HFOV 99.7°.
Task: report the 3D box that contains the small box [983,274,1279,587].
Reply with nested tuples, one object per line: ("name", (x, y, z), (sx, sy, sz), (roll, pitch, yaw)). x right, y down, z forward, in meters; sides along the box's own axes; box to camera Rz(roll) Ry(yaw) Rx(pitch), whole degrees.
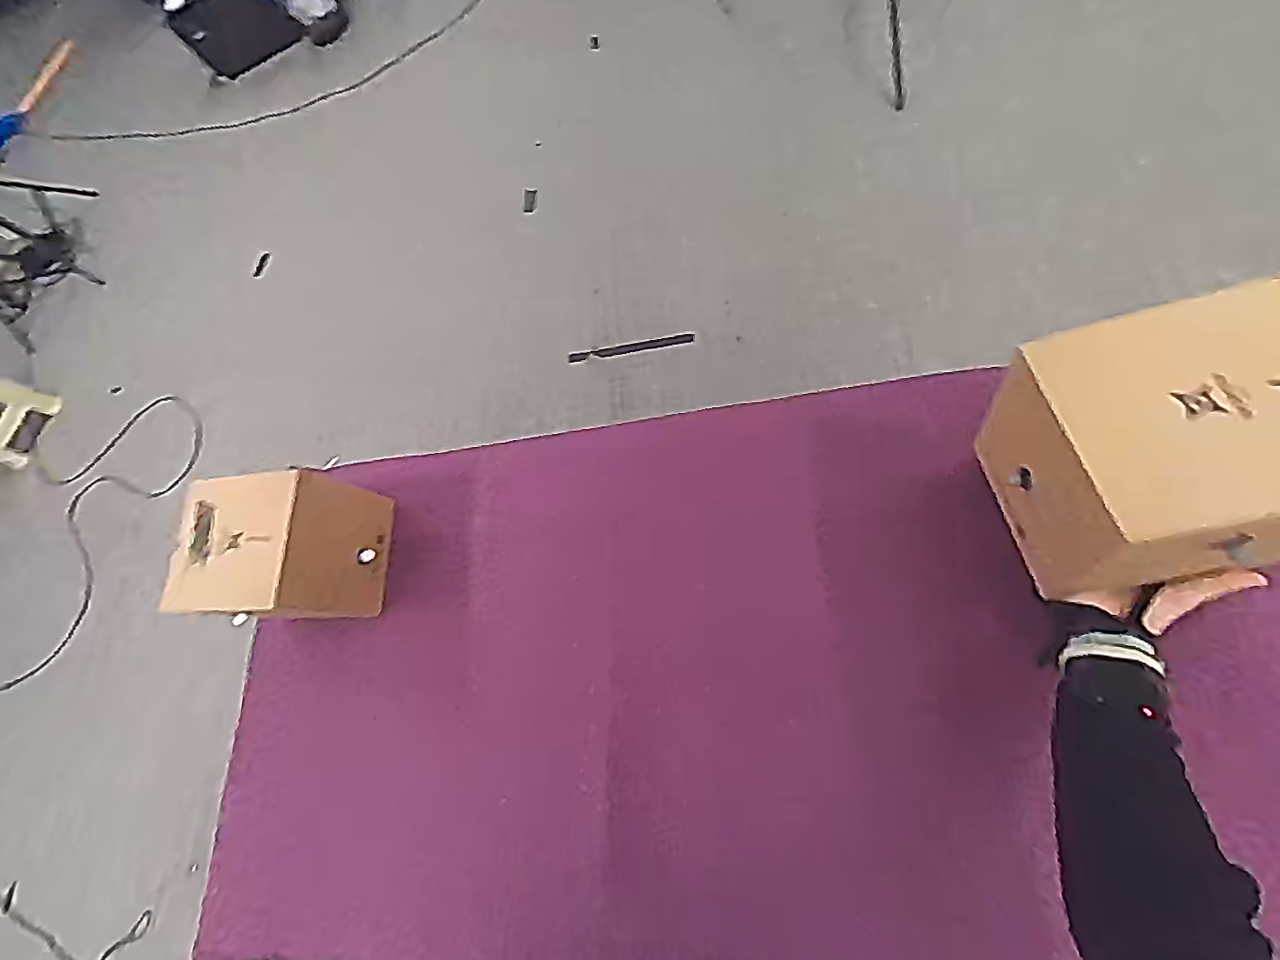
("small box", (0.404, -0.022, 0.434), (0.179, 0.176, 0.168), (-13, 62, 14))

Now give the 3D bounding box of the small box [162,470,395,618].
("small box", (-0.462, 0.094, 0.714), (0.179, 0.176, 0.168), (-5, 73, 15))
